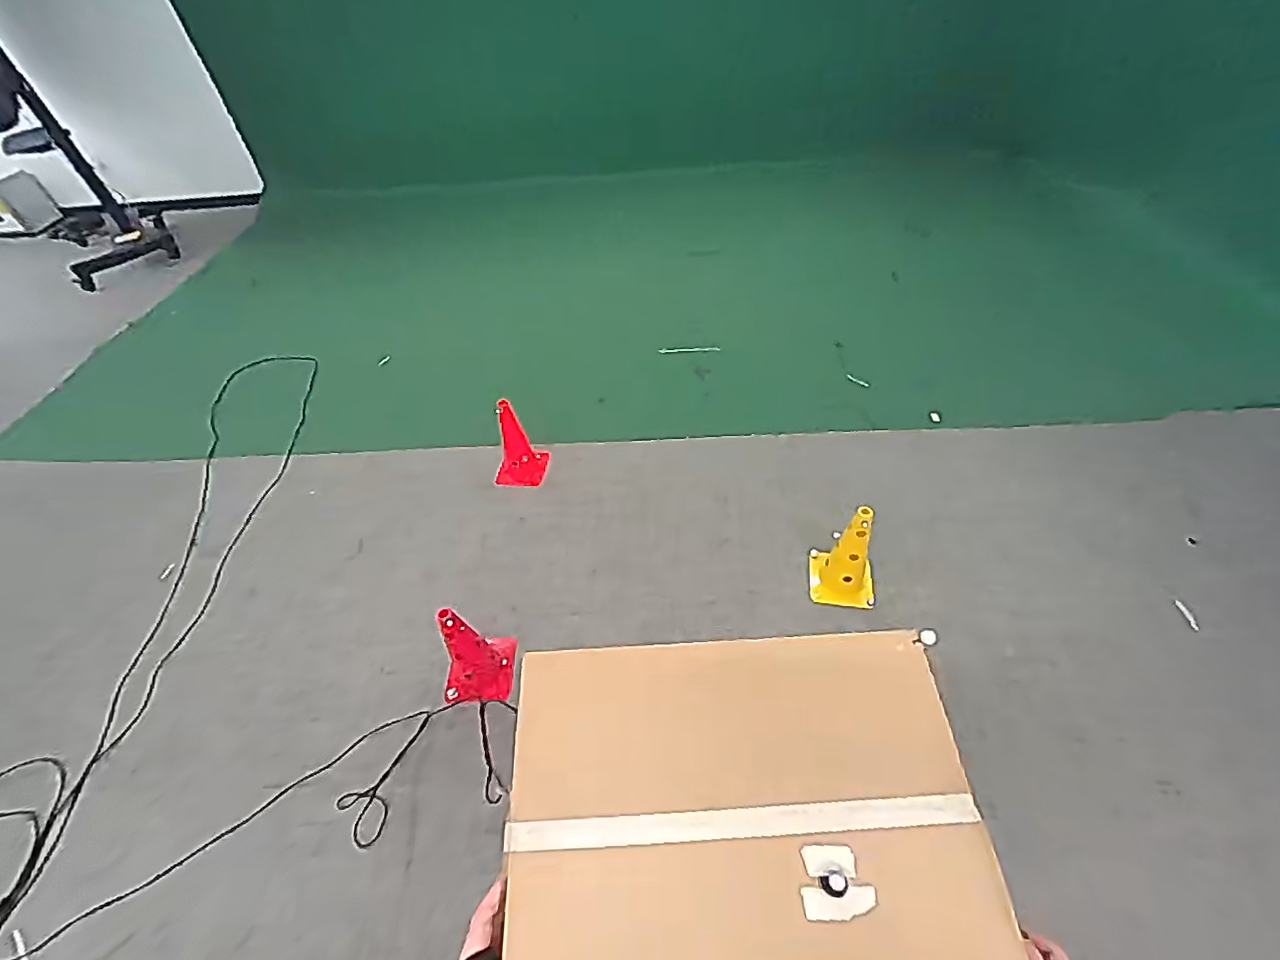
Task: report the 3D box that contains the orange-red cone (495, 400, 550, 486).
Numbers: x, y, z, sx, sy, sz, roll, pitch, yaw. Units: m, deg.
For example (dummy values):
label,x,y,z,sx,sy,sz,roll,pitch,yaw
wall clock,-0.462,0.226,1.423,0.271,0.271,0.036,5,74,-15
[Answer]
label,x,y,z,sx,sy,sz,roll,pitch,yaw
orange-red cone,-0.502,-0.165,2.133,0.199,0.360,0.198,3,47,9

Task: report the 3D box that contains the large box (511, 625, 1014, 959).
label,x,y,z,sx,sy,sz,roll,pitch,yaw
large box,0.090,0.376,0.607,0.408,0.320,0.320,-4,58,0
